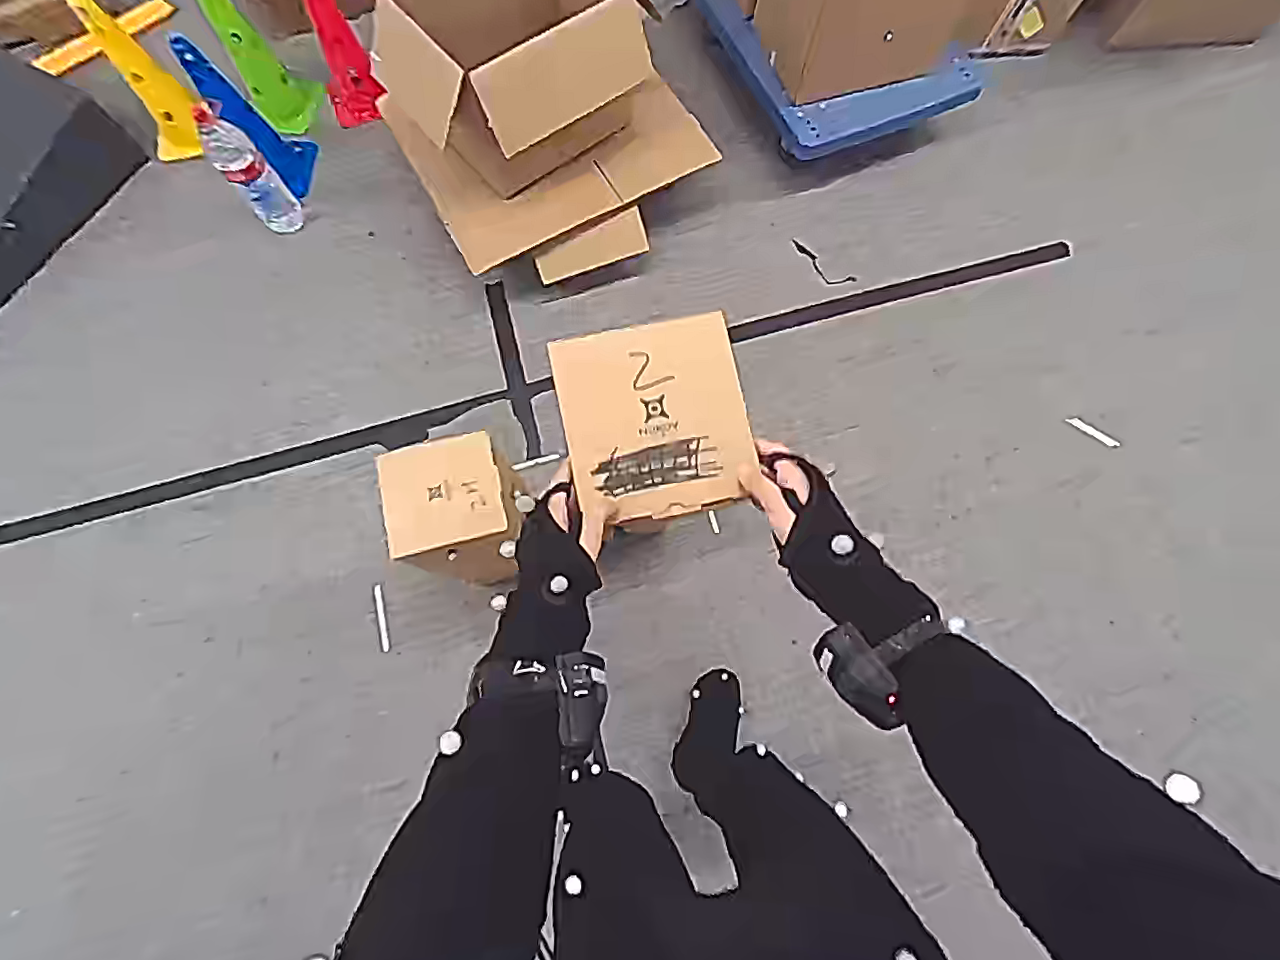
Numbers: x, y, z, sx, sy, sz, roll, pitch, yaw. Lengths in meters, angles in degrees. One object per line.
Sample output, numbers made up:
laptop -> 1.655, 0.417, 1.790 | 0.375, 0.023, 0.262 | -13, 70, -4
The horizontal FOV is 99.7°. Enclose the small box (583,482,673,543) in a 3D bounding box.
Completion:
small box -> -0.034, 0.040, 1.229 | 0.179, 0.176, 0.168 | -10, 75, -5

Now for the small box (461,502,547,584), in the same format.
small box -> -0.311, 0.127, 1.198 | 0.168, 0.176, 0.179 | -16, 74, -7

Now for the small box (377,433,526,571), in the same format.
small box -> -0.298, 0.044, 0.882 | 0.179, 0.176, 0.168 | -14, 76, -7

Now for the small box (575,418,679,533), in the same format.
small box -> -0.026, 0.001, 1.069 | 0.168, 0.176, 0.179 | -12, 74, -5

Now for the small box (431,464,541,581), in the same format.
small box -> -0.301, 0.089, 1.041 | 0.179, 0.176, 0.168 | -15, 75, -7
